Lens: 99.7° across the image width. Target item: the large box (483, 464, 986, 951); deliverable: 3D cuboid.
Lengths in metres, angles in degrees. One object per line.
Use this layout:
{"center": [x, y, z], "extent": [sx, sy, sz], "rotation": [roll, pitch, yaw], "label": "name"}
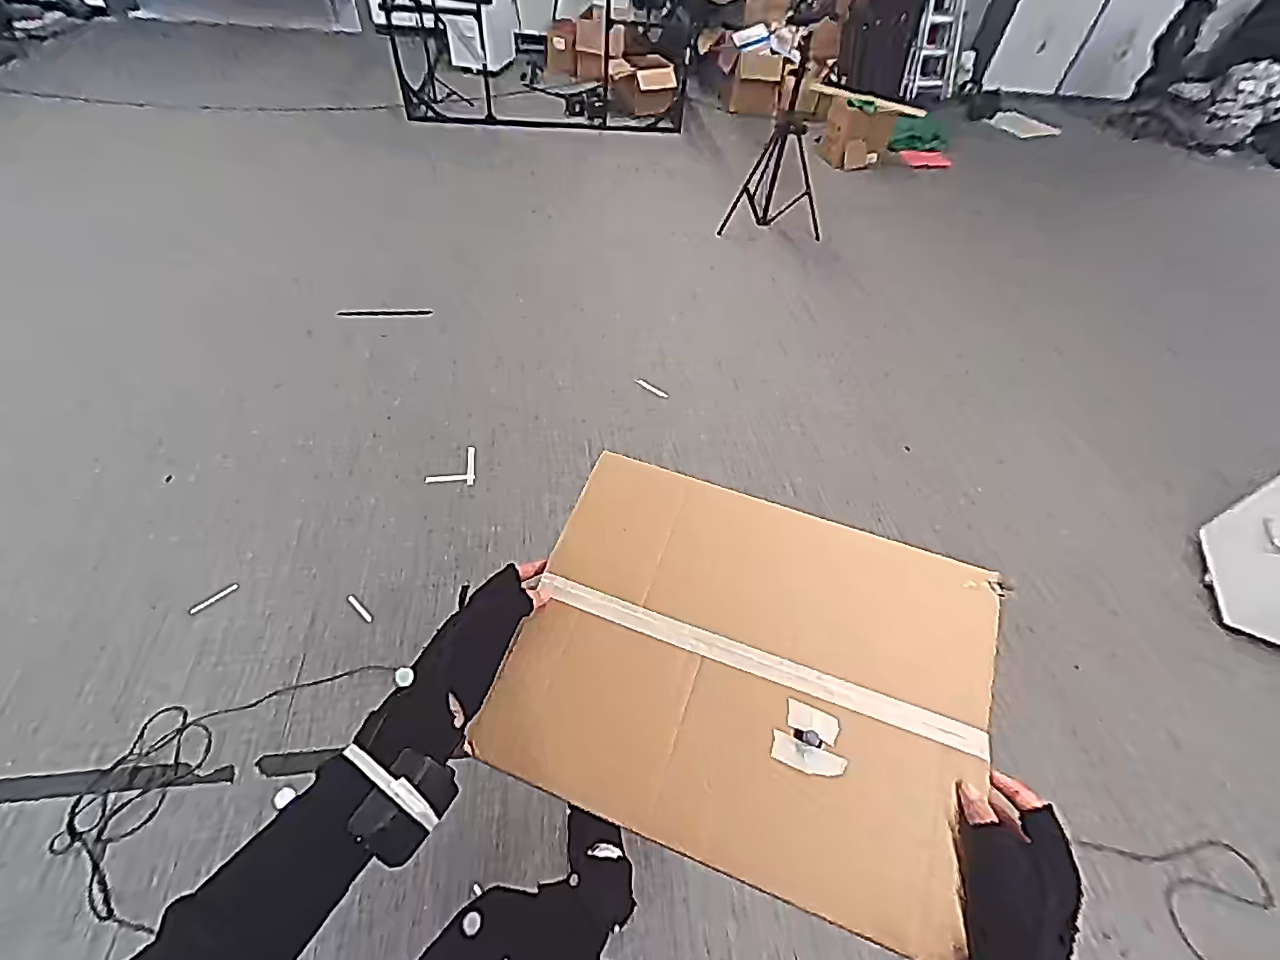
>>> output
{"center": [0.101, 0.234, 0.627], "extent": [0.408, 0.320, 0.320], "rotation": [18, 65, 11], "label": "large box"}
